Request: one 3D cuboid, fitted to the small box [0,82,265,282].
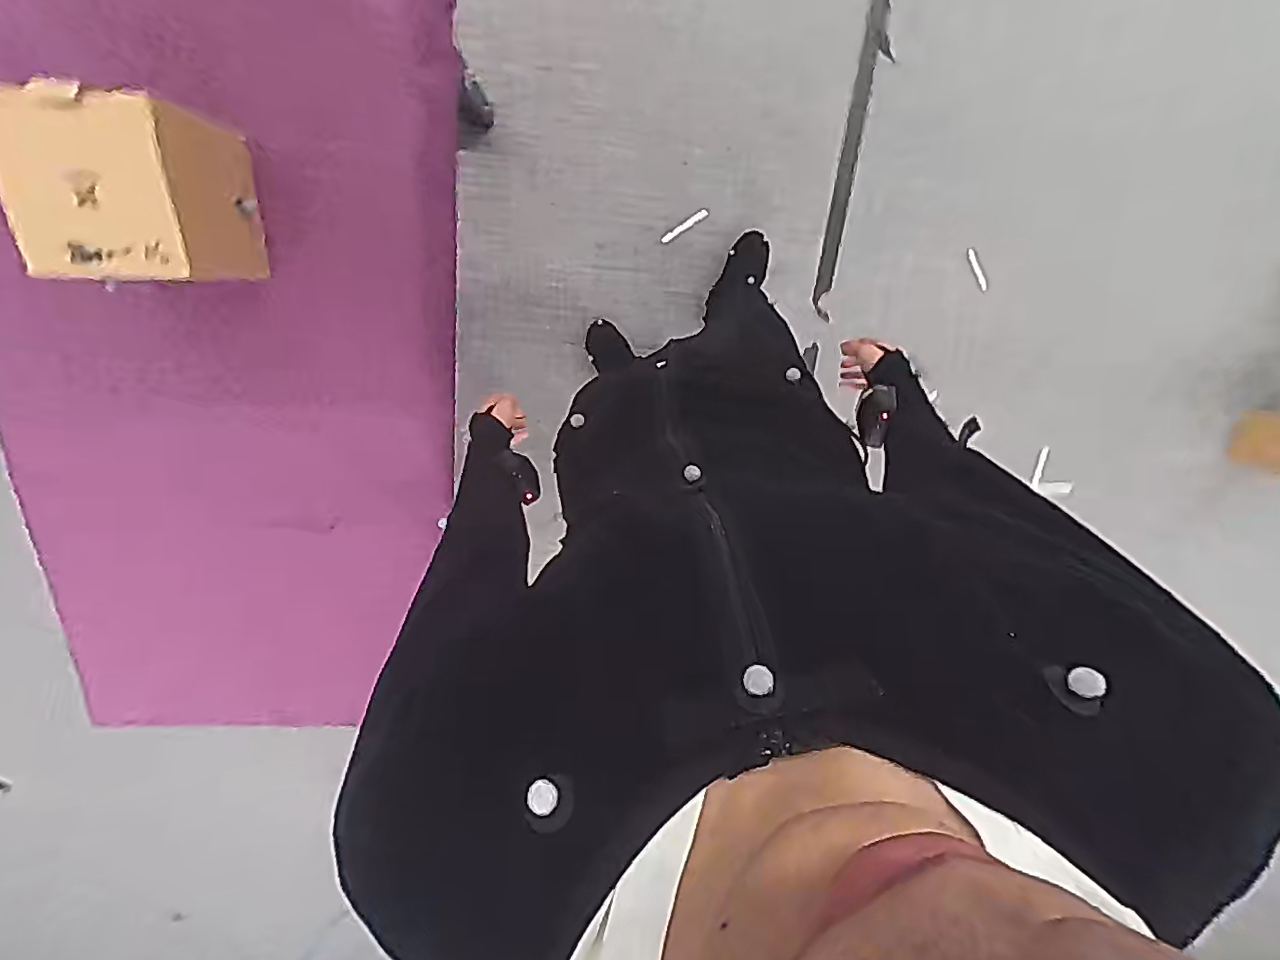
[{"bbox_3d":[-0.579,-0.327,0.626,0.168,0.176,0.179,0,110,-5],"label":"small box"}]

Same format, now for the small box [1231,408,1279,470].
[{"bbox_3d":[2.084,-0.126,1.736,0.168,0.176,0.179,3,111,-7],"label":"small box"}]
